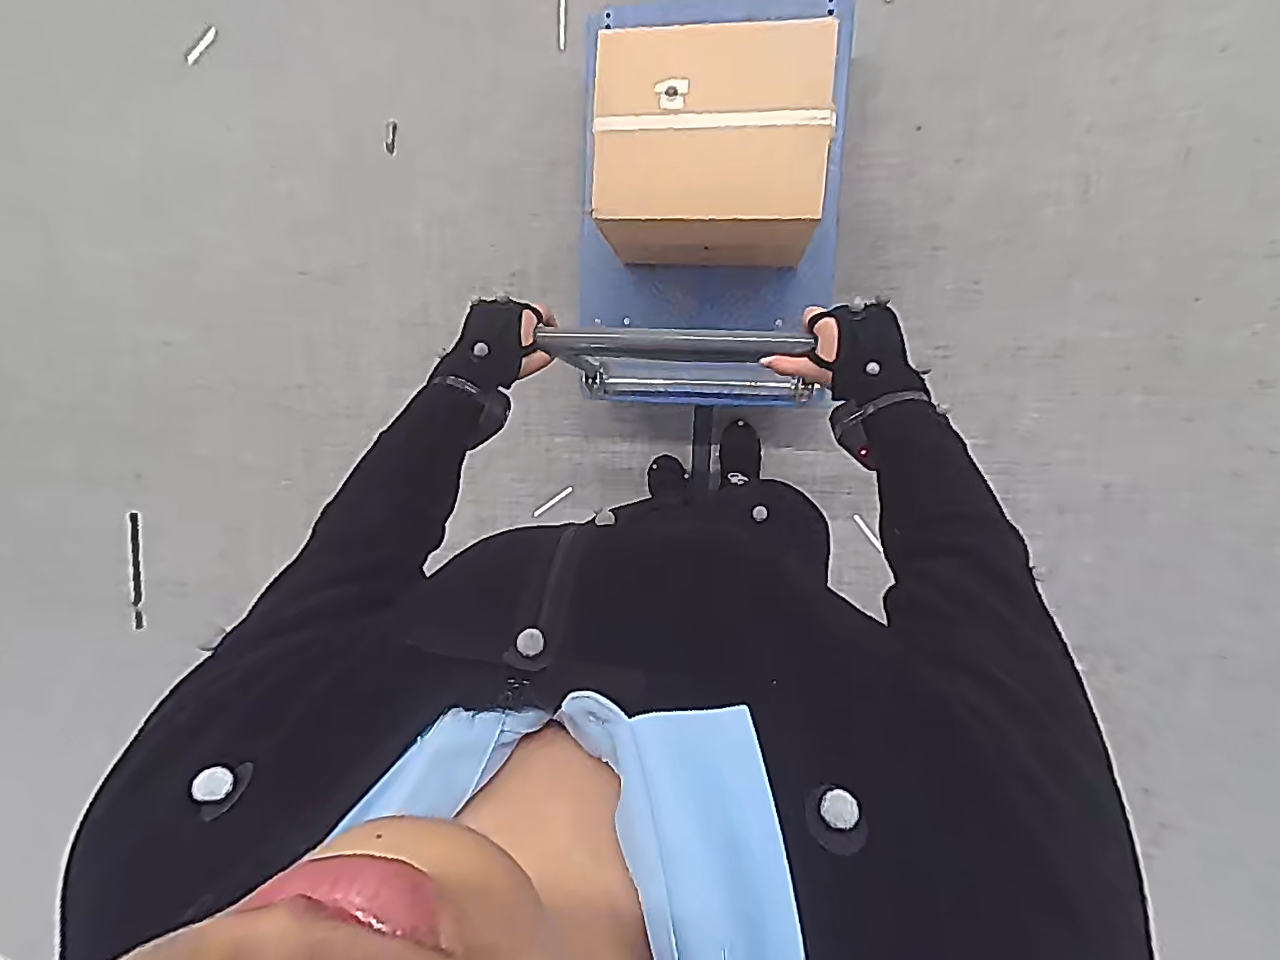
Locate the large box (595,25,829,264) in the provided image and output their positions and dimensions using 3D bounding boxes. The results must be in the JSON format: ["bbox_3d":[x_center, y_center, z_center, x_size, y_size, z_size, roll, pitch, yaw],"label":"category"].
[{"bbox_3d":[0.143,-0.635,1.094,0.408,0.320,0.320,4,97,9],"label":"large box"}]
